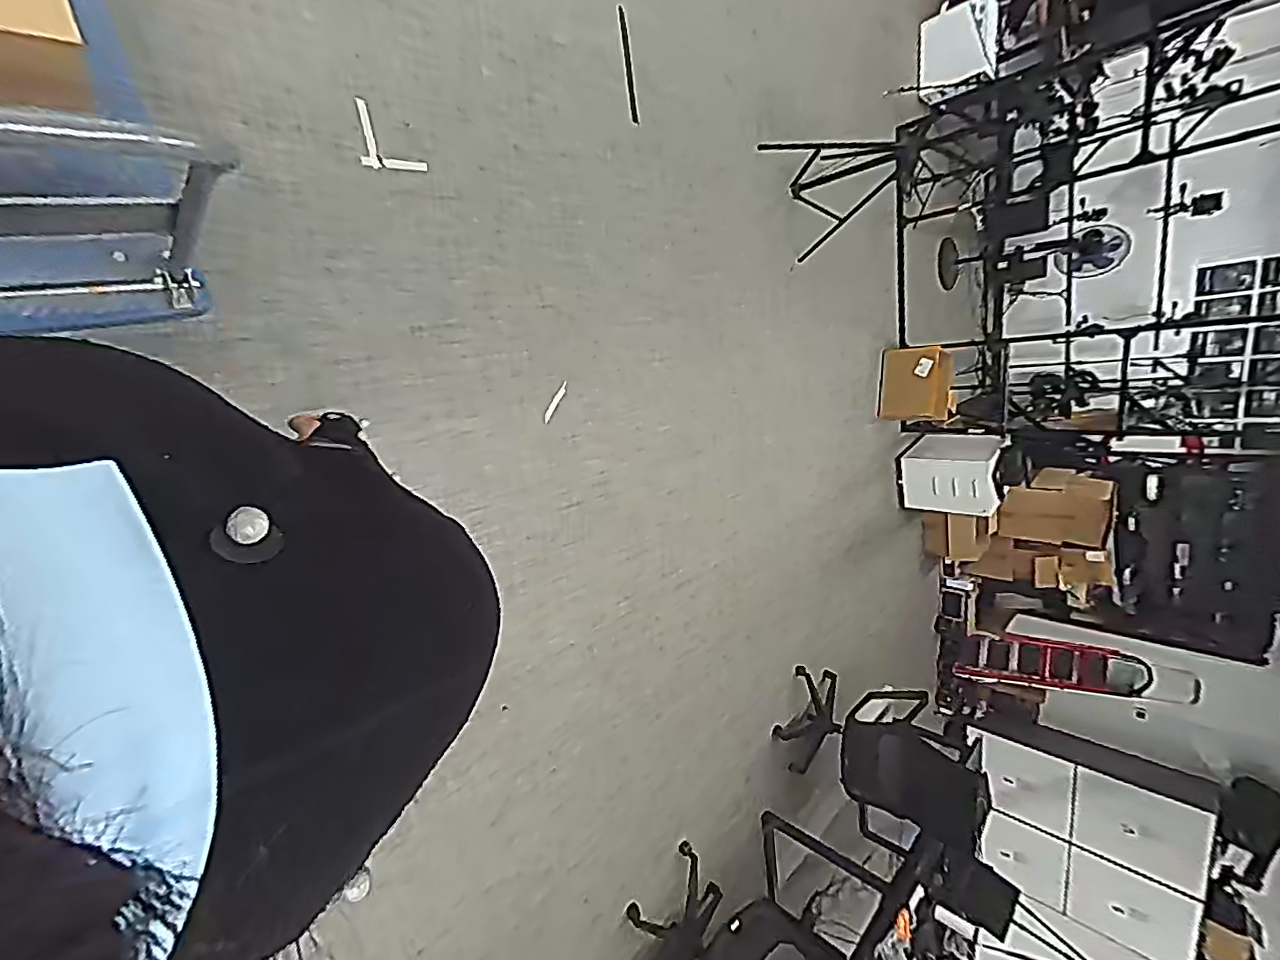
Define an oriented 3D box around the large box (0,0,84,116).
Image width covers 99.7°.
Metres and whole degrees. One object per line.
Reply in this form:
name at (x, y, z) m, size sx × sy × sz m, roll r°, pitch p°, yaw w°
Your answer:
large box at (-1.003, -0.685, 0.644) m, size 0.408 × 0.320 × 0.320 m, roll -22°, pitch 109°, yaw -40°
